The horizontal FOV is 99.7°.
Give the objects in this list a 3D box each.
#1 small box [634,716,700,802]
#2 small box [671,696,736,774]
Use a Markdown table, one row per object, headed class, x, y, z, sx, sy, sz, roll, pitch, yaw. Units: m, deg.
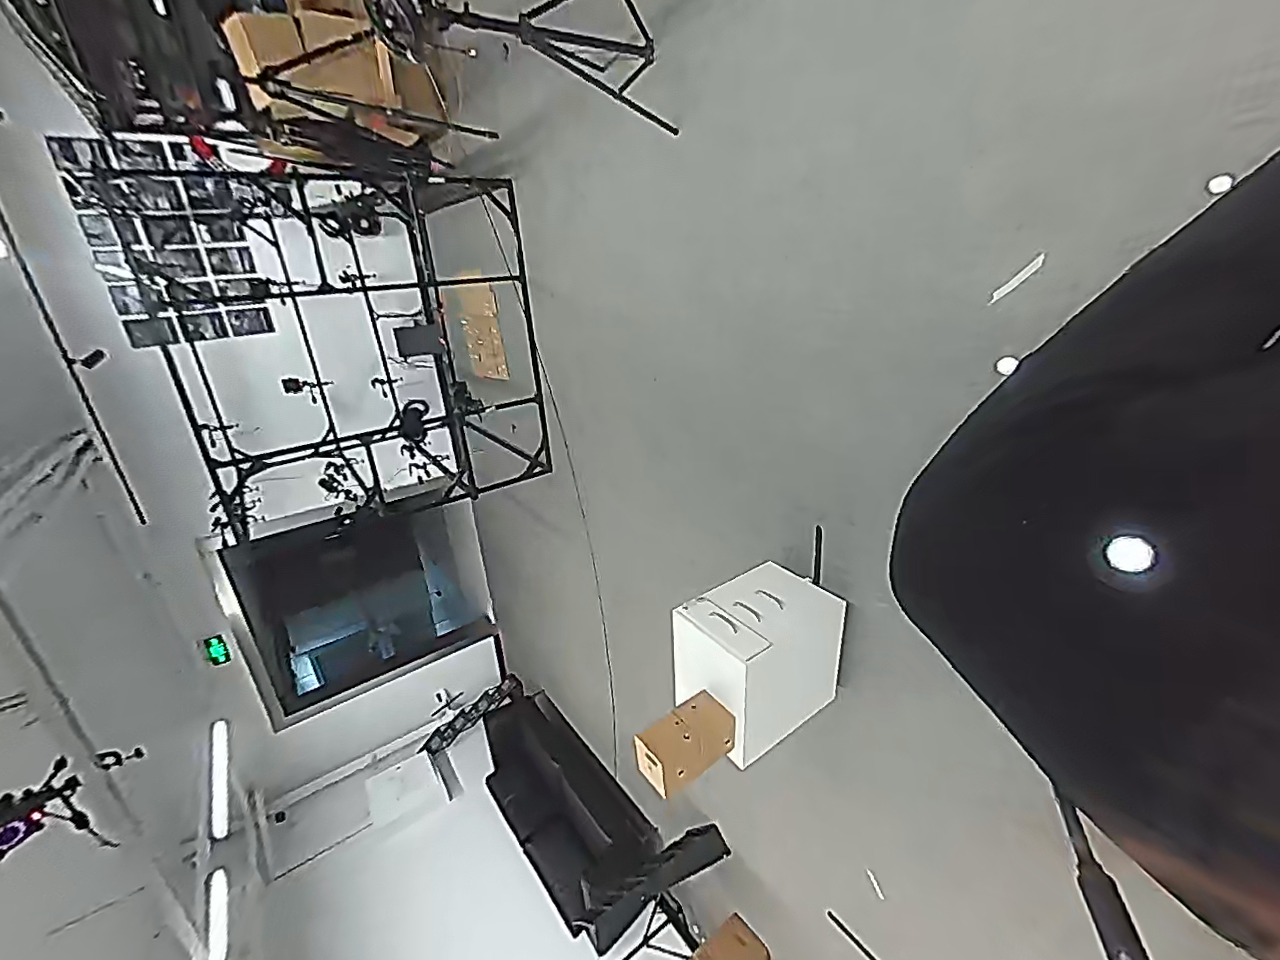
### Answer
| class | x | y | z | sx | sy | sz | roll | pitch | yaw |
| --- | --- | --- | --- | --- | --- | --- | --- | --- | --- |
| small box | 0.099 | 0.982 | 1.921 | 0.168 | 0.176 | 0.179 | 24 | 127 | 52 |
| small box | 0.232 | 0.932 | 2.003 | 0.179 | 0.176 | 0.168 | 29 | 129 | 49 |
